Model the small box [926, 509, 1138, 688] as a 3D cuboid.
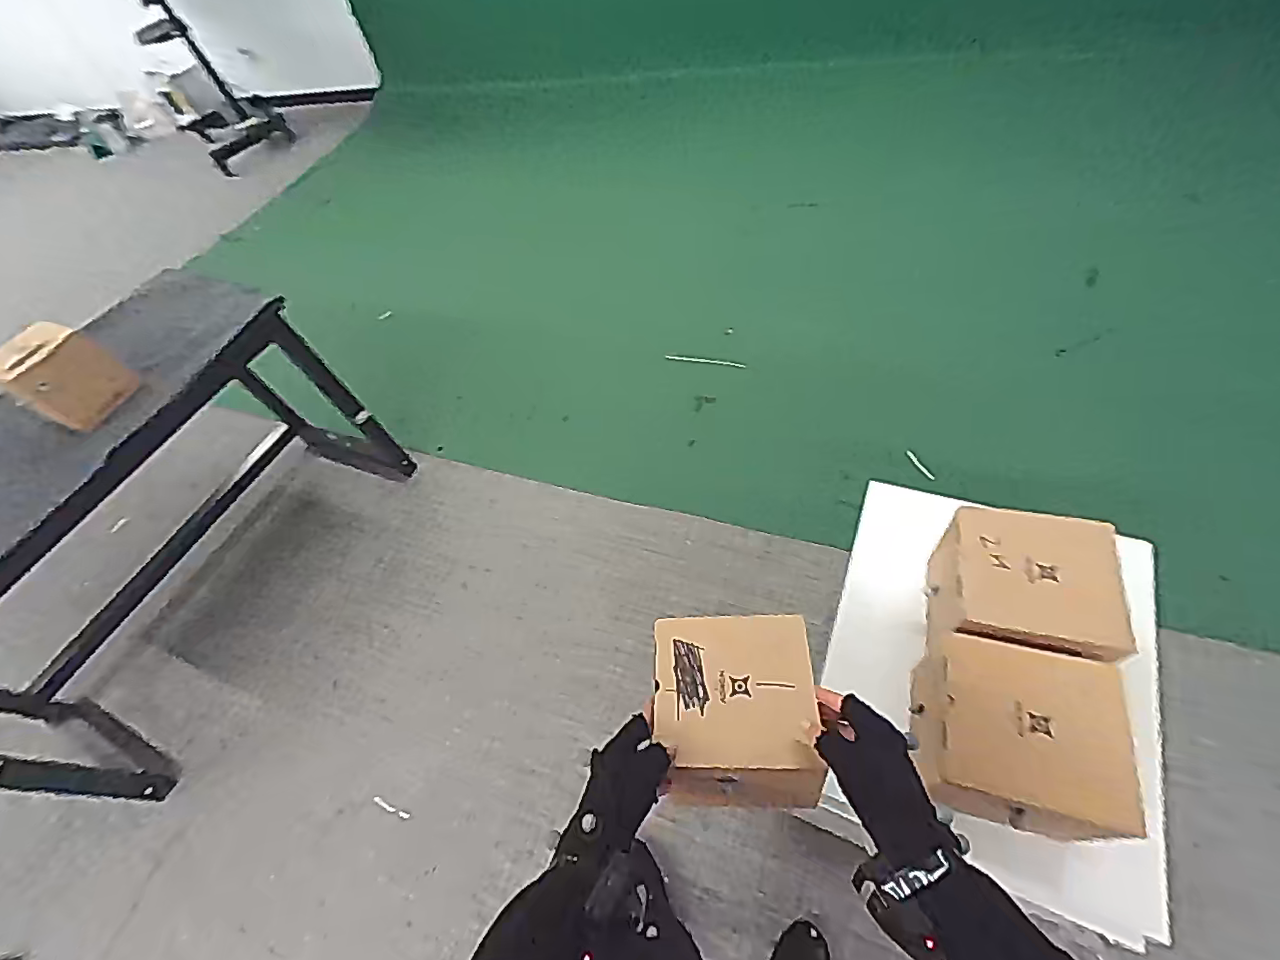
[{"bbox_3d":[0.498,0.161,0.717,0.179,0.176,0.168,8,57,18],"label":"small box"}]
